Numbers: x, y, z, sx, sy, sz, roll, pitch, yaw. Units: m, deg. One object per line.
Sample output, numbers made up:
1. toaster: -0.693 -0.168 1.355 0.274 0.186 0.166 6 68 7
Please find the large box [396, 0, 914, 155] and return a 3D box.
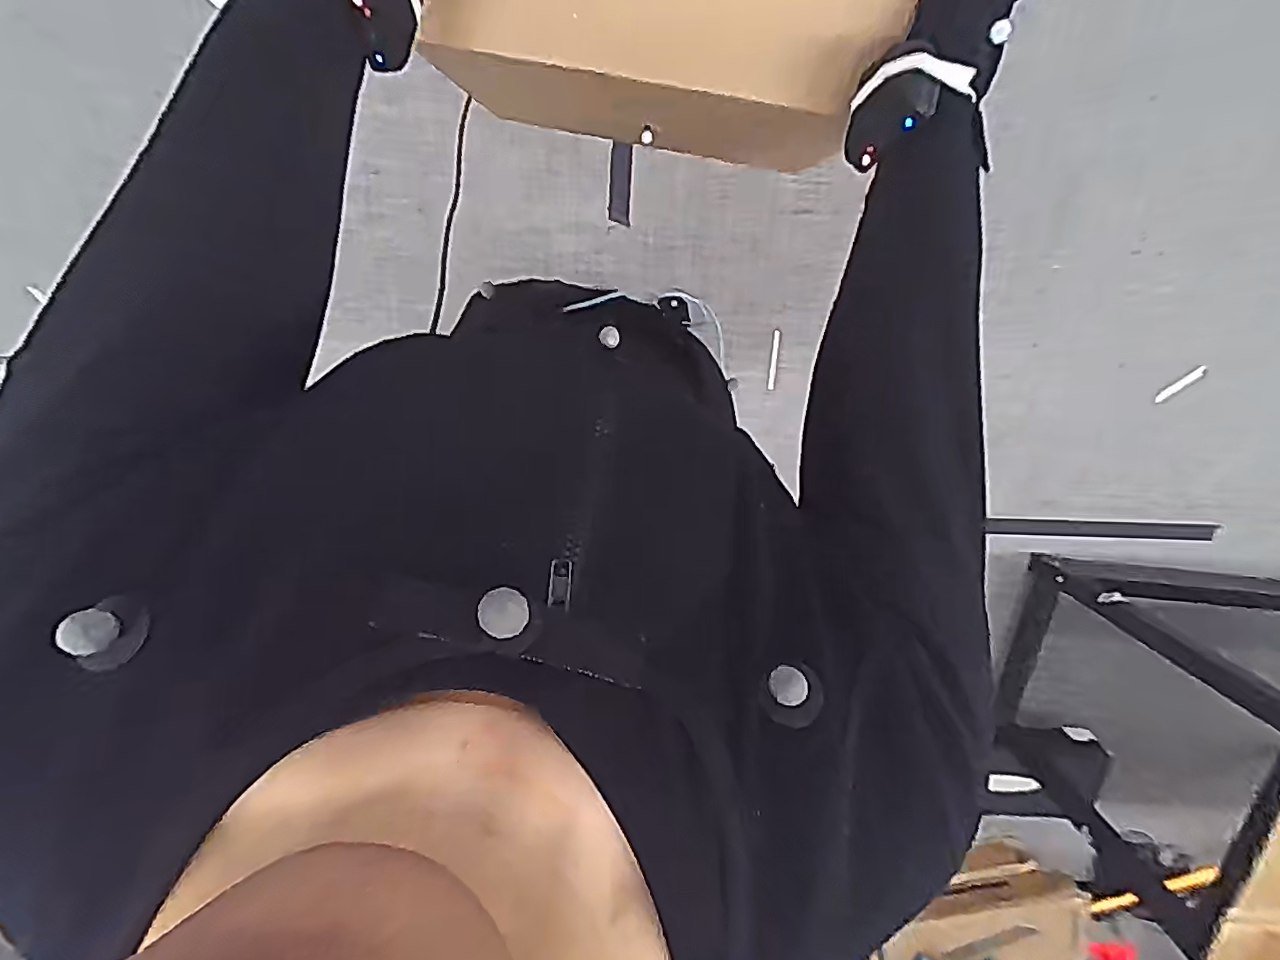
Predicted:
1. large box: 0.032 -0.527 0.509 0.408 0.320 0.320 9 113 -1
